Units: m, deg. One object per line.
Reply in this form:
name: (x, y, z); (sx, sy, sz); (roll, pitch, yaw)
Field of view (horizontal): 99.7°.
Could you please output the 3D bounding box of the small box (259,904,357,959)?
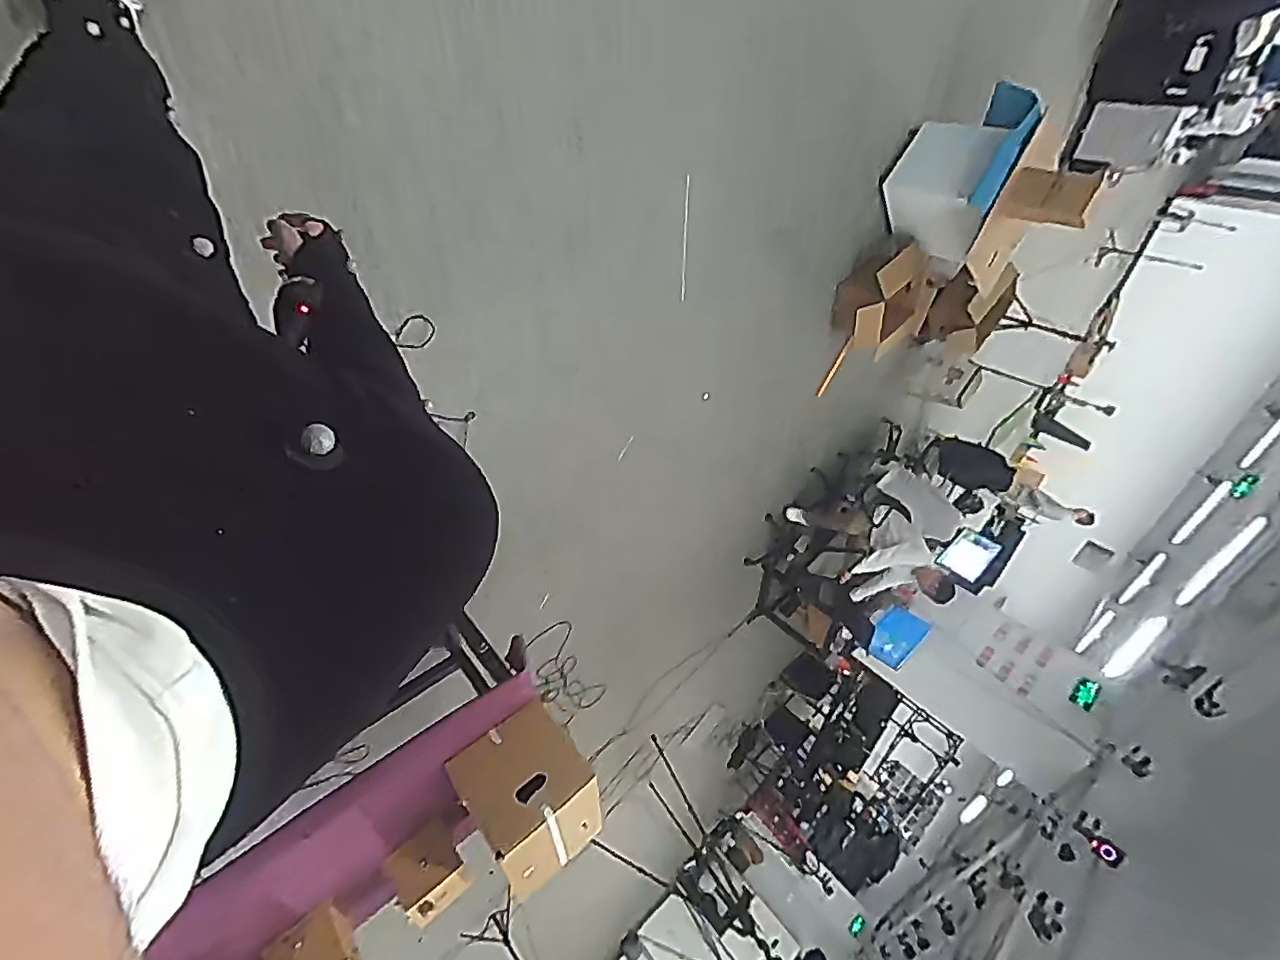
small box: (-0.870, 1.280, 1.432); (0.168, 0.176, 0.179); (-29, 137, -32)
